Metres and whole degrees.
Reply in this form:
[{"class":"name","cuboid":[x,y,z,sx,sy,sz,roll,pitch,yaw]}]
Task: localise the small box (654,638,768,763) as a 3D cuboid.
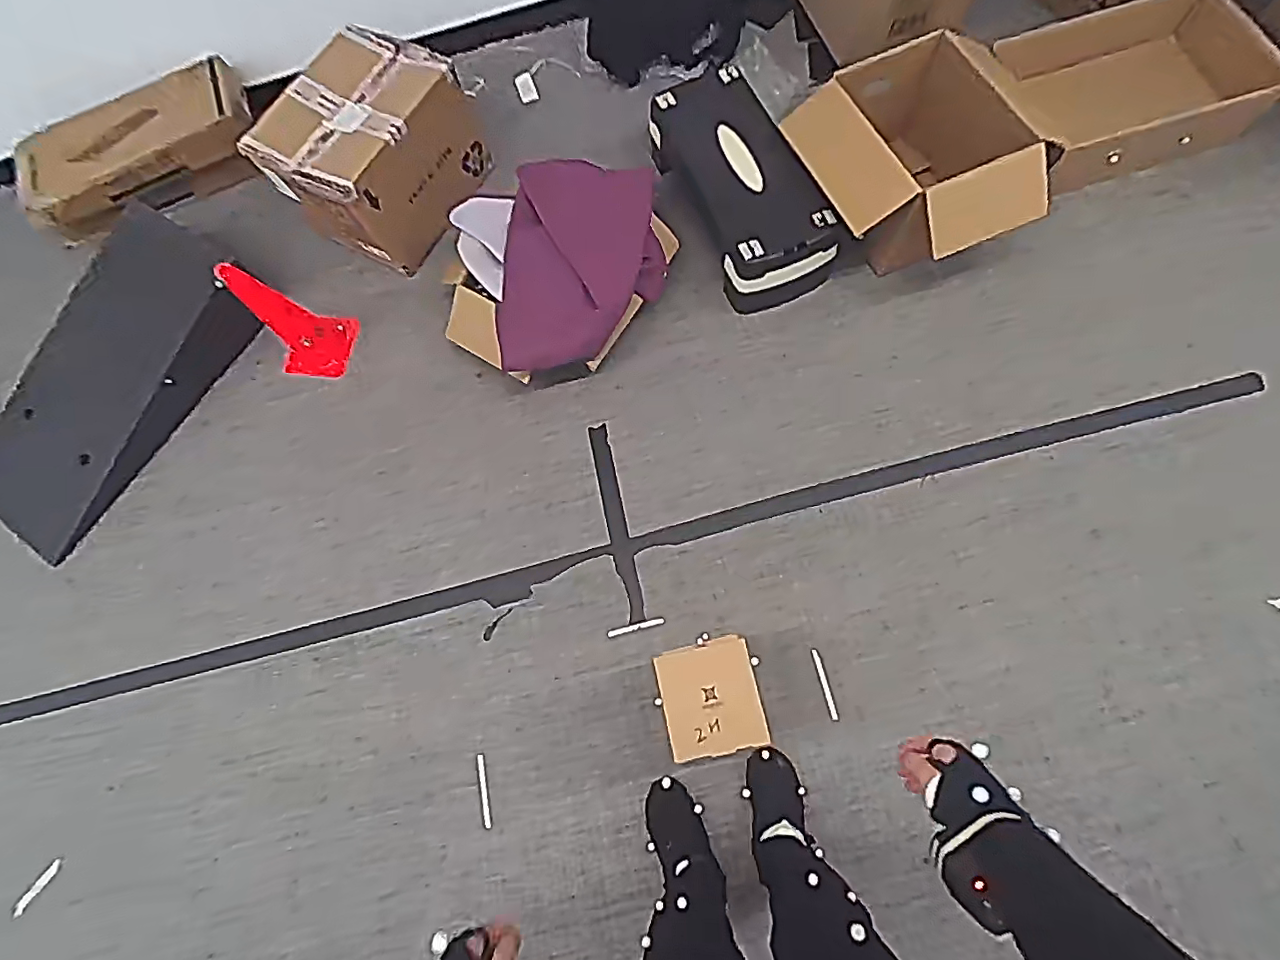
[{"class":"small box","cuboid":[0.126,0.399,0.999,0.168,0.176,0.179,-13,72,2]}]
